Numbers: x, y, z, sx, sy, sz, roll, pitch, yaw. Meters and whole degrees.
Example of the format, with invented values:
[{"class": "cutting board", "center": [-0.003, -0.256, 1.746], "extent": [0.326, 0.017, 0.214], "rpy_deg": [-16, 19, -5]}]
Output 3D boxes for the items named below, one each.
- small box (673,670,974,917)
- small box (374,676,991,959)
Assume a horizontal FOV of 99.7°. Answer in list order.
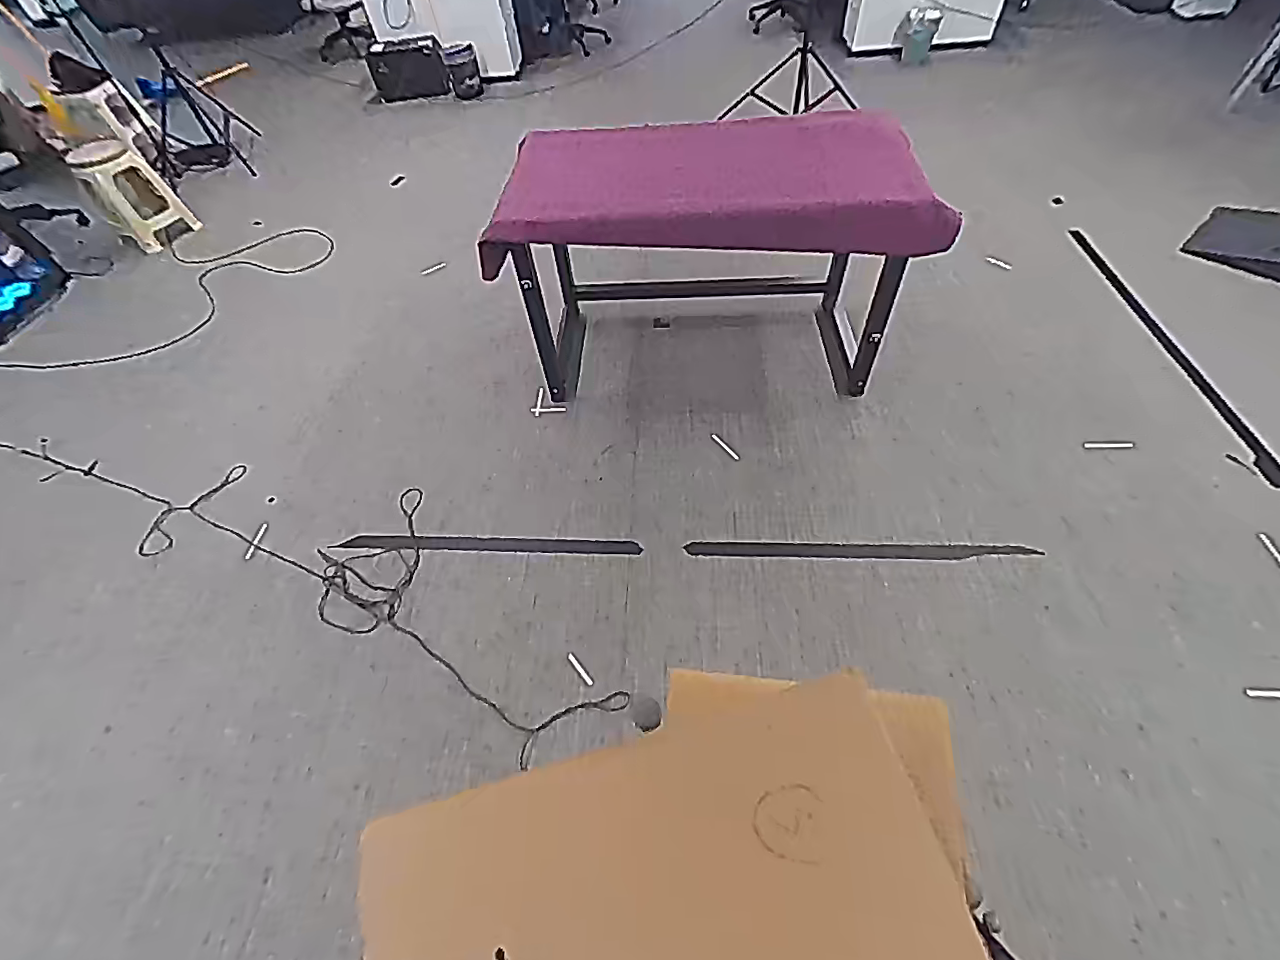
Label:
[{"class": "small box", "center": [0.103, 0.242, 0.365], "extent": [0.168, 0.176, 0.179], "rpy_deg": [2, 61, 12]}, {"class": "small box", "center": [0.026, 0.194, 0.209], "extent": [0.179, 0.176, 0.168], "rpy_deg": [-18, 57, 3]}]
